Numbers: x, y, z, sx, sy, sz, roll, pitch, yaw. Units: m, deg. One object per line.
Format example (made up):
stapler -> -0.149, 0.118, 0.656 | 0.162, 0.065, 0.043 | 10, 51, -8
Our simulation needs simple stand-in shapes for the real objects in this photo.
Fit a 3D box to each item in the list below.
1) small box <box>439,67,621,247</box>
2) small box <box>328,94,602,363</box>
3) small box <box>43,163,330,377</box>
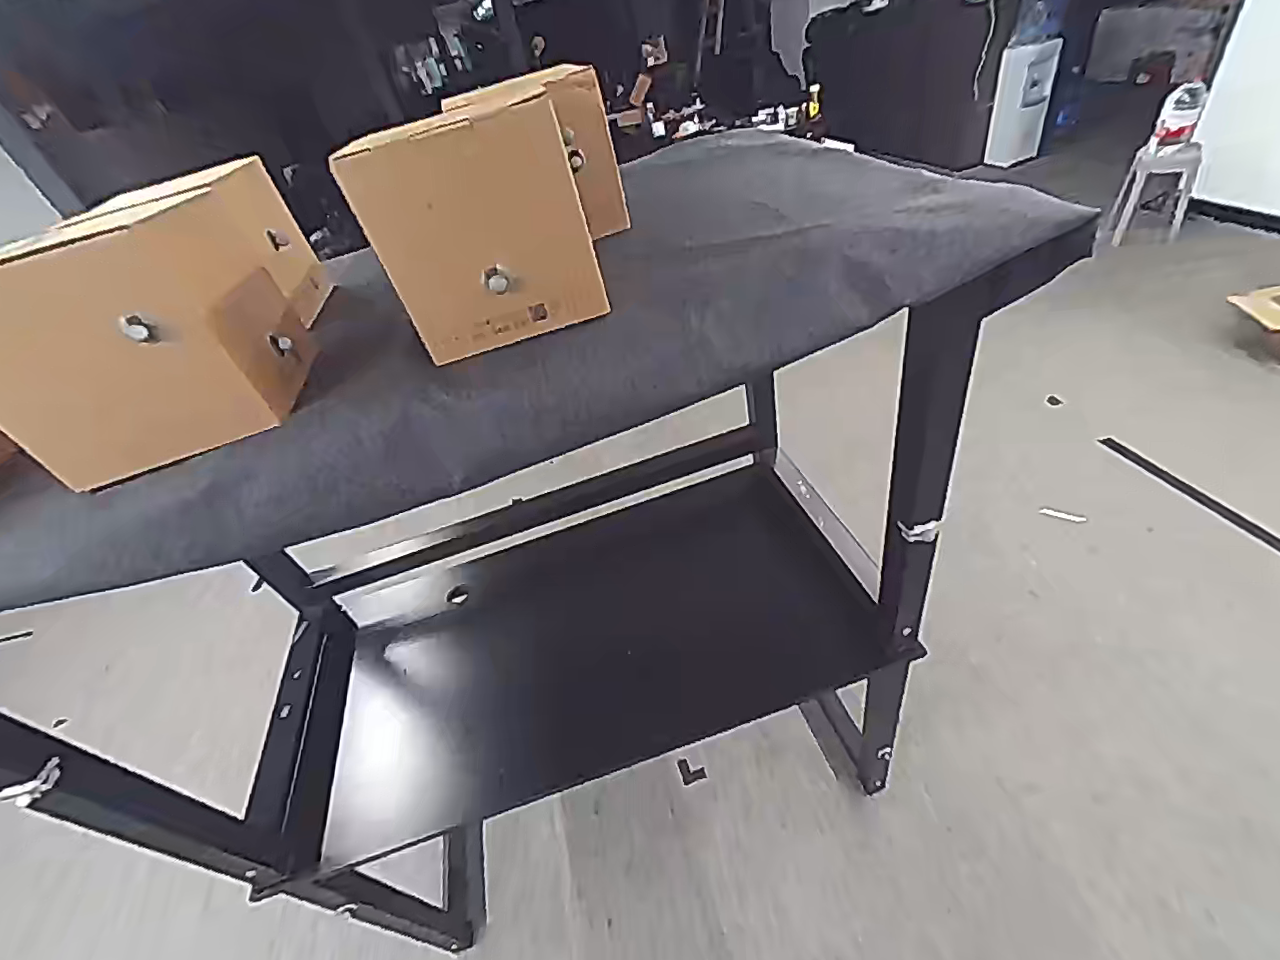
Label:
small box -> -0.133, -0.383, 0.668 | 0.168, 0.176, 0.179 | -19, 41, -5
small box -> -0.142, -0.232, 0.499 | 0.168, 0.176, 0.179 | -17, 39, 0
small box -> -0.511, -0.251, 0.649 | 0.179, 0.176, 0.168 | -19, 41, -2
